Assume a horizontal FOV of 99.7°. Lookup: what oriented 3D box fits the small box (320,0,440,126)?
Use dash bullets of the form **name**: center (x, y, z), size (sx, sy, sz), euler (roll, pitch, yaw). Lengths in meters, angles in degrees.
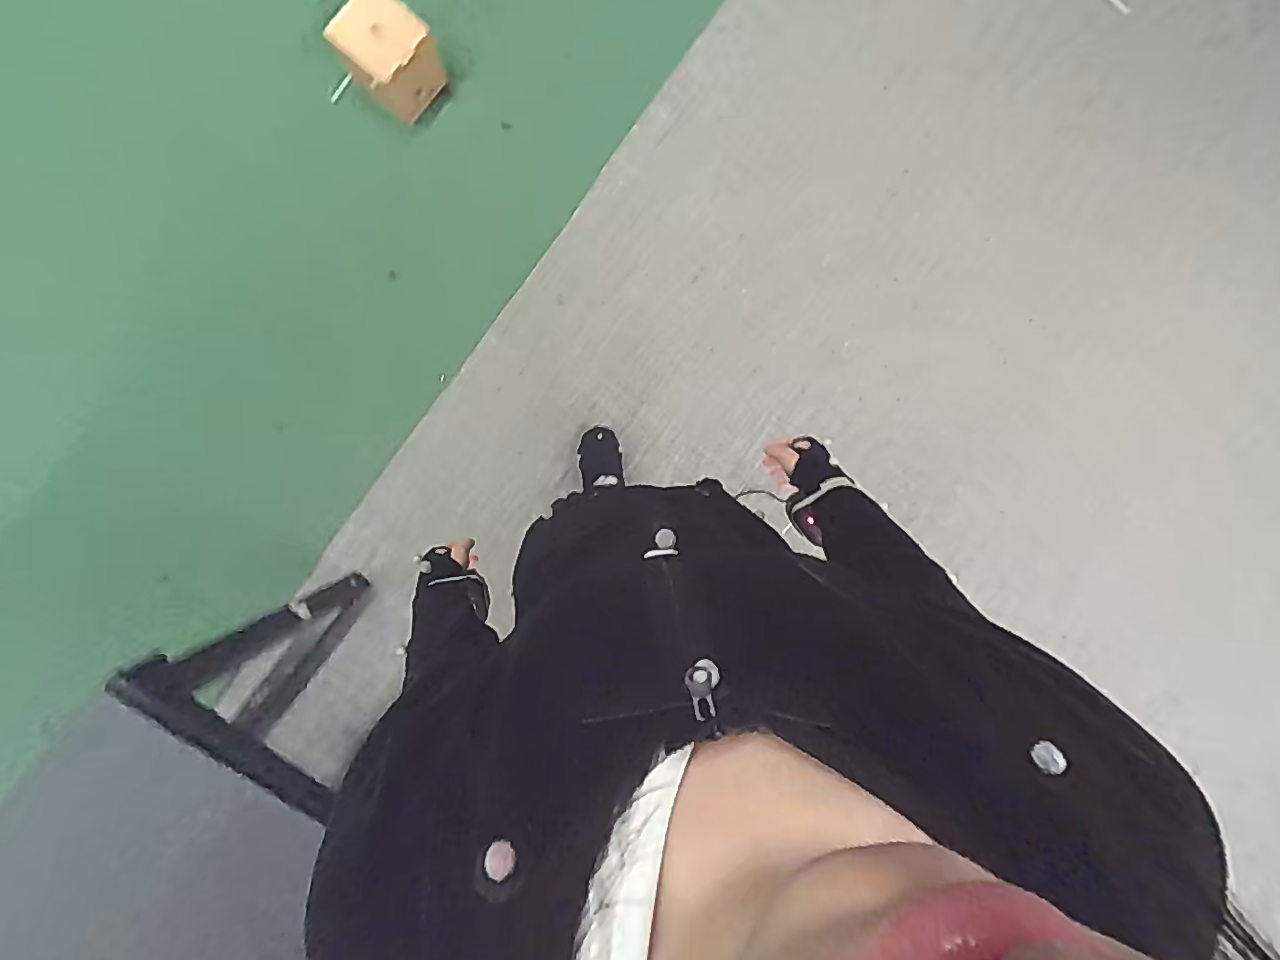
- **small box**: center (-0.626, -1.027, 1.326), size (0.179, 0.176, 0.168), euler (38, 89, -6)
